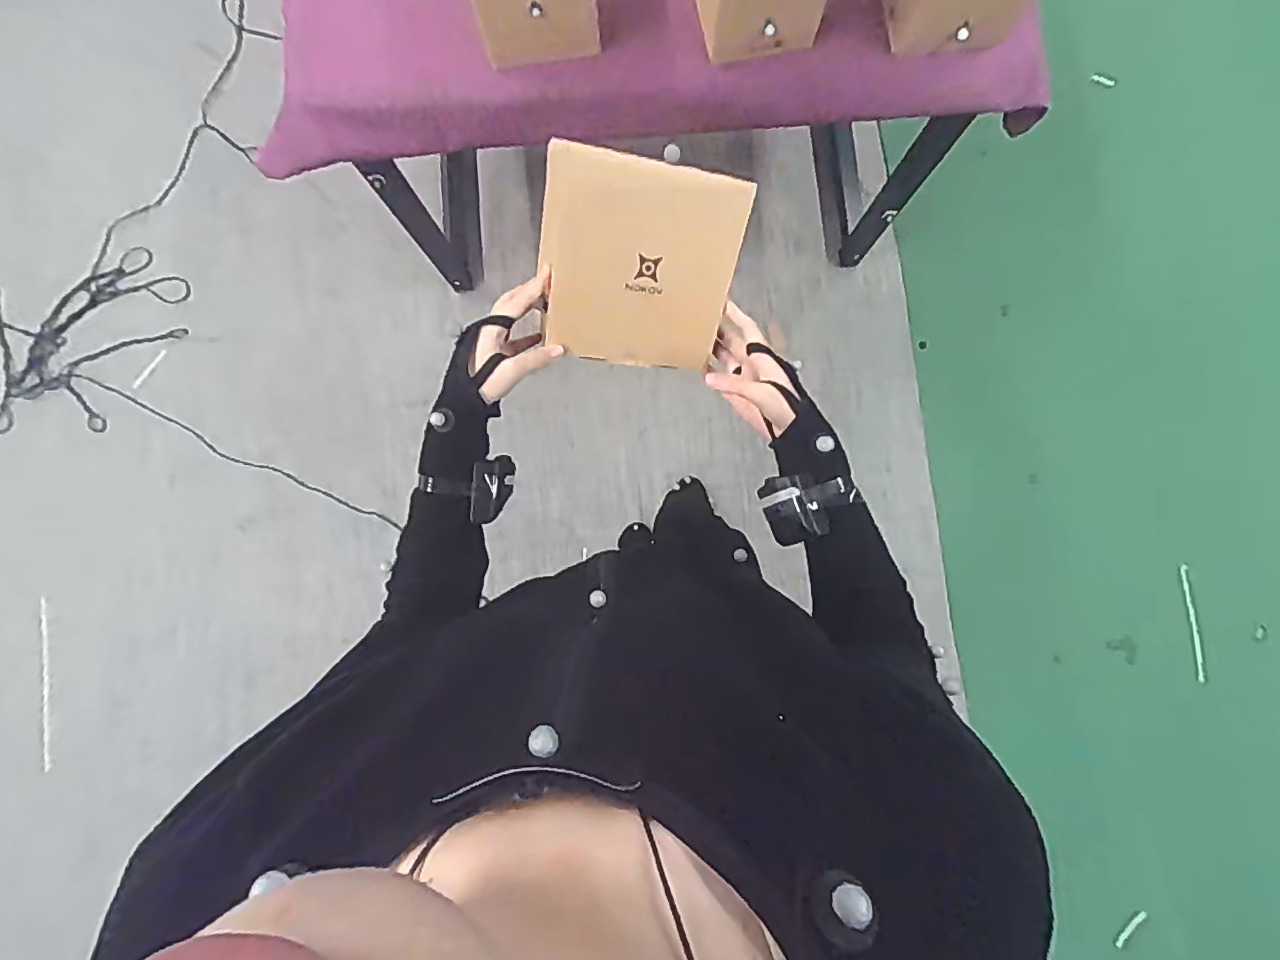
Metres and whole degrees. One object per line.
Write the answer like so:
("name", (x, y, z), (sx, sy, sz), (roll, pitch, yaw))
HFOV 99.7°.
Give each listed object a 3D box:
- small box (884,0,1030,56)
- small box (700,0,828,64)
("small box", (0.476, -0.763, 0.781), (0.179, 0.176, 0.168), (-8, 84, 1))
("small box", (0.178, -0.763, 0.786), (0.168, 0.176, 0.179), (-11, 84, 0))
